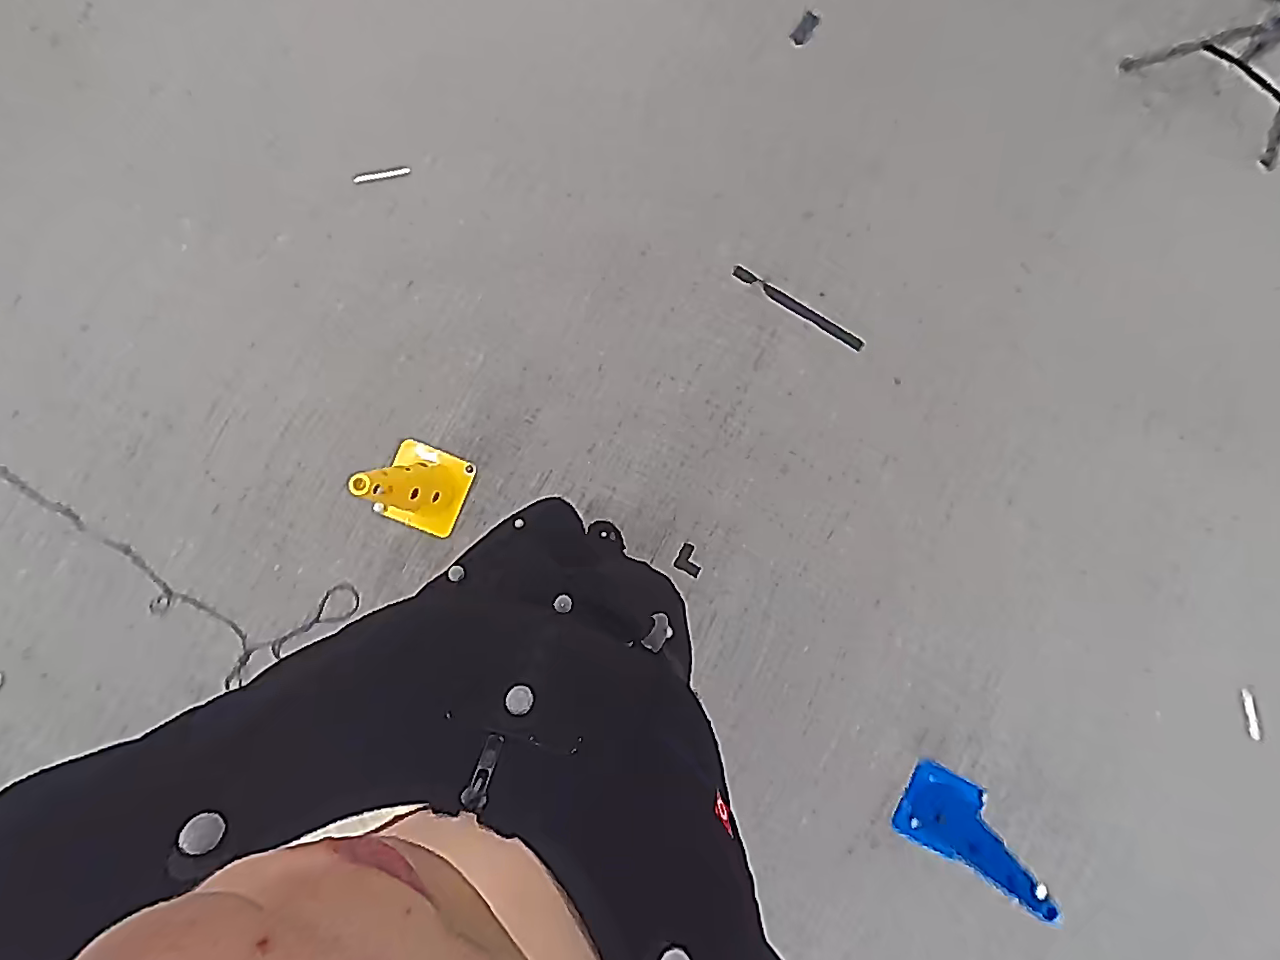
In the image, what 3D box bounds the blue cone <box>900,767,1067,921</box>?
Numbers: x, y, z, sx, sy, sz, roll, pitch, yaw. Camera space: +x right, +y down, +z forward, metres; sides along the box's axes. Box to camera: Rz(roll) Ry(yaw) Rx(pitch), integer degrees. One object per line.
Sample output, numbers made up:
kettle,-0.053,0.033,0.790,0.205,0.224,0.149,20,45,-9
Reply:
blue cone,0.776,0.838,1.207,0.193,0.380,0.192,30,86,-1
